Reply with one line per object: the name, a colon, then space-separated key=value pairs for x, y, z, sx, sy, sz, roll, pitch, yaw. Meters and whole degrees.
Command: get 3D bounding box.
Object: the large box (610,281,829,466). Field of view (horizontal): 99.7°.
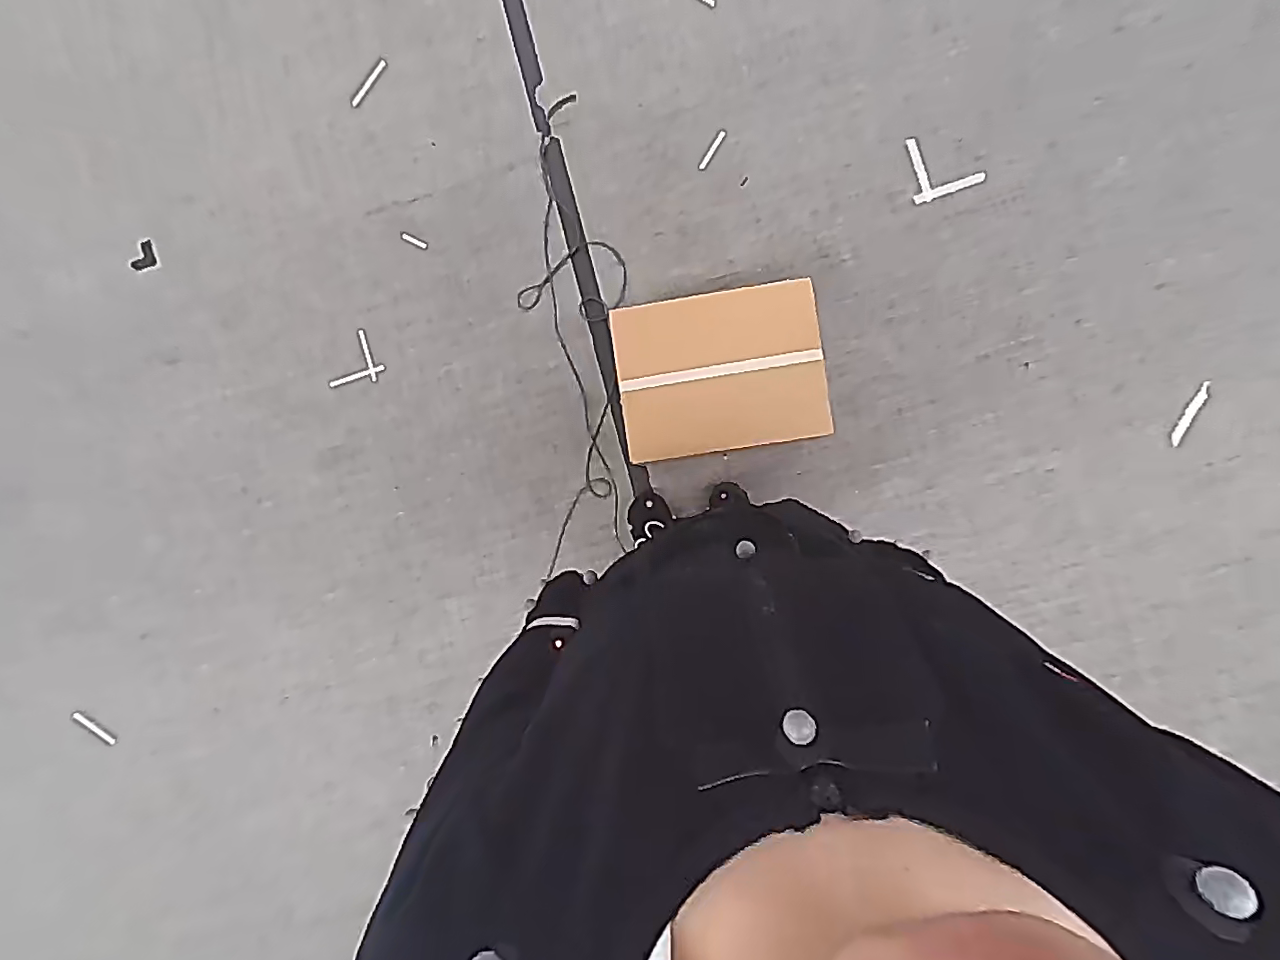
large box: x=0.163 y=-0.215 z=1.228 sx=0.408 sy=0.320 sz=0.320 roll=-8 pitch=91 yaw=3
